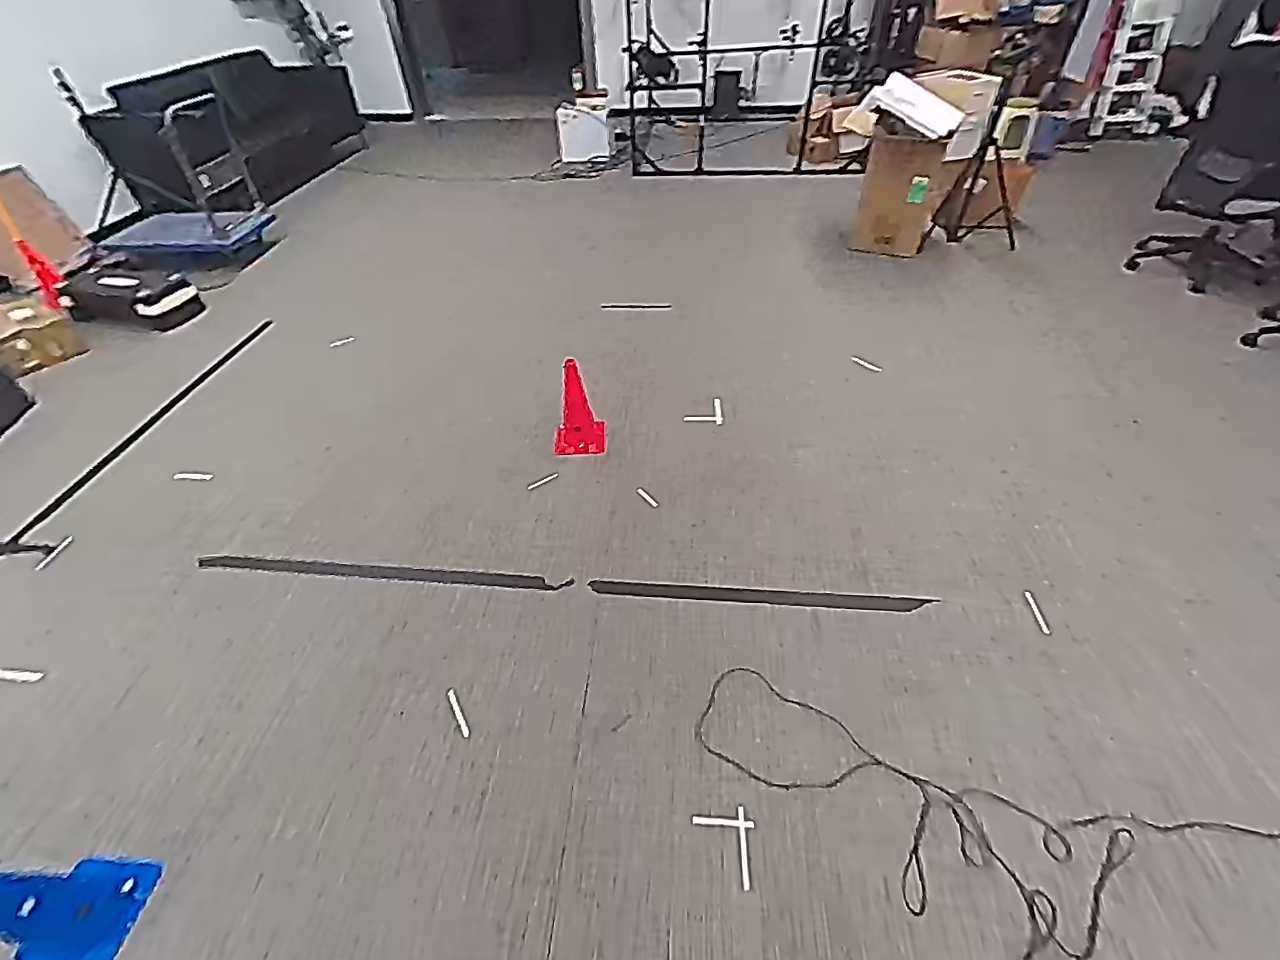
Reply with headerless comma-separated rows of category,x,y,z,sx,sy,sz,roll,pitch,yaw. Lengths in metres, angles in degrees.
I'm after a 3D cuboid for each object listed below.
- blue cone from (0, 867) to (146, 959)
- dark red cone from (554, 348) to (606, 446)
blue cone,-1.131,0.778,0.966,0.193,0.380,0.192,3,45,5
dark red cone,-0.240,-0.316,2.019,0.202,0.394,0.201,-3,45,-1
